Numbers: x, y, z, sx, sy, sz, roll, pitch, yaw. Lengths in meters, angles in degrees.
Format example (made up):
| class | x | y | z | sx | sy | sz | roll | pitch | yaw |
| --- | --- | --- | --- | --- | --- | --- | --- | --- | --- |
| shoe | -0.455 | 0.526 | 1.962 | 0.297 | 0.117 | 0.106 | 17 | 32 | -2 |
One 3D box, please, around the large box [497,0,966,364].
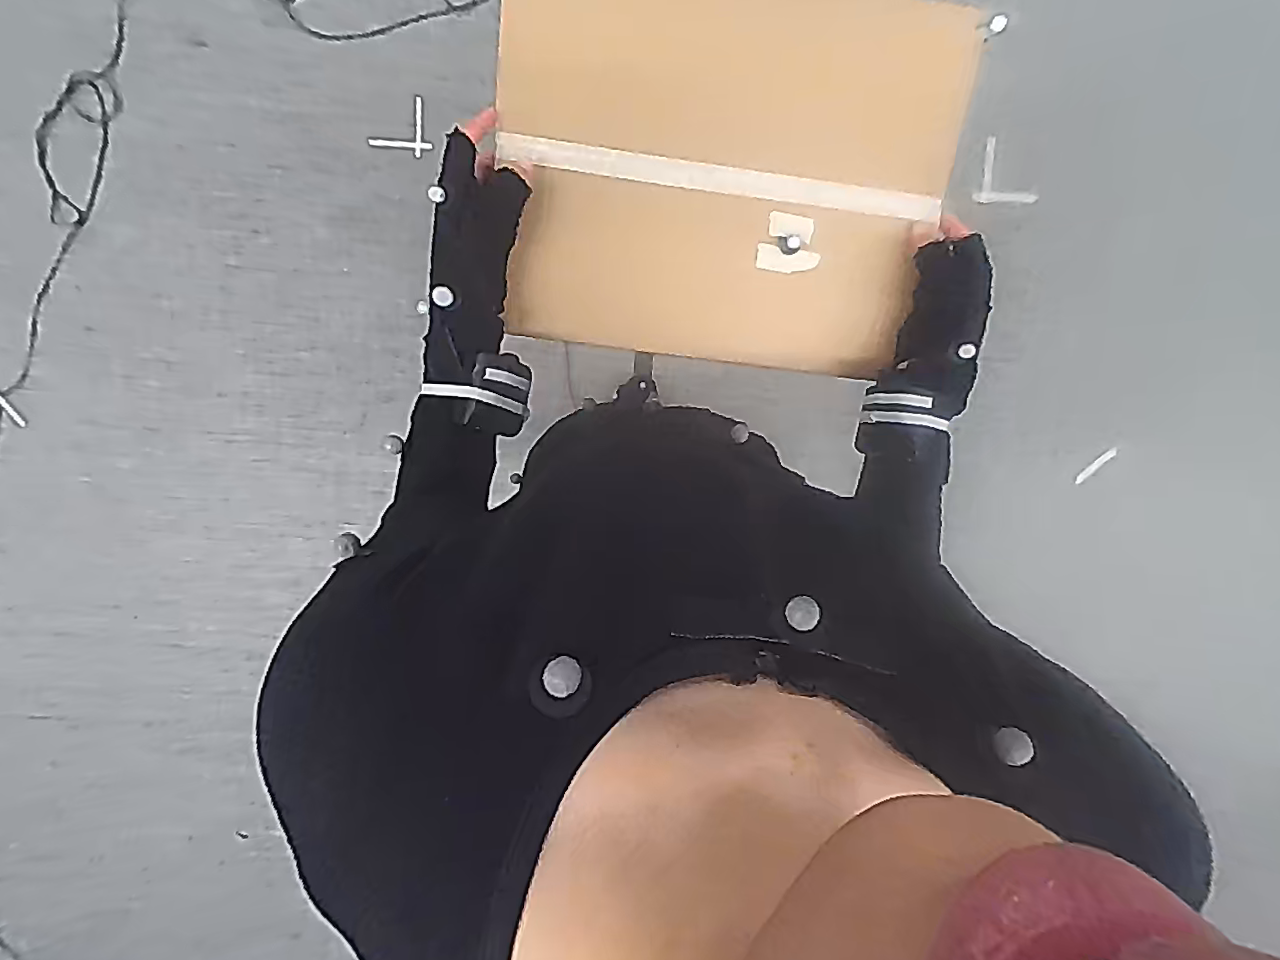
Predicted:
| class | x | y | z | sx | sy | sz | roll | pitch | yaw |
| --- | --- | --- | --- | --- | --- | --- | --- | --- | --- |
| large box | 0.063 | -0.320 | 0.634 | 0.408 | 0.320 | 0.320 | 5 | 107 | -5 |
